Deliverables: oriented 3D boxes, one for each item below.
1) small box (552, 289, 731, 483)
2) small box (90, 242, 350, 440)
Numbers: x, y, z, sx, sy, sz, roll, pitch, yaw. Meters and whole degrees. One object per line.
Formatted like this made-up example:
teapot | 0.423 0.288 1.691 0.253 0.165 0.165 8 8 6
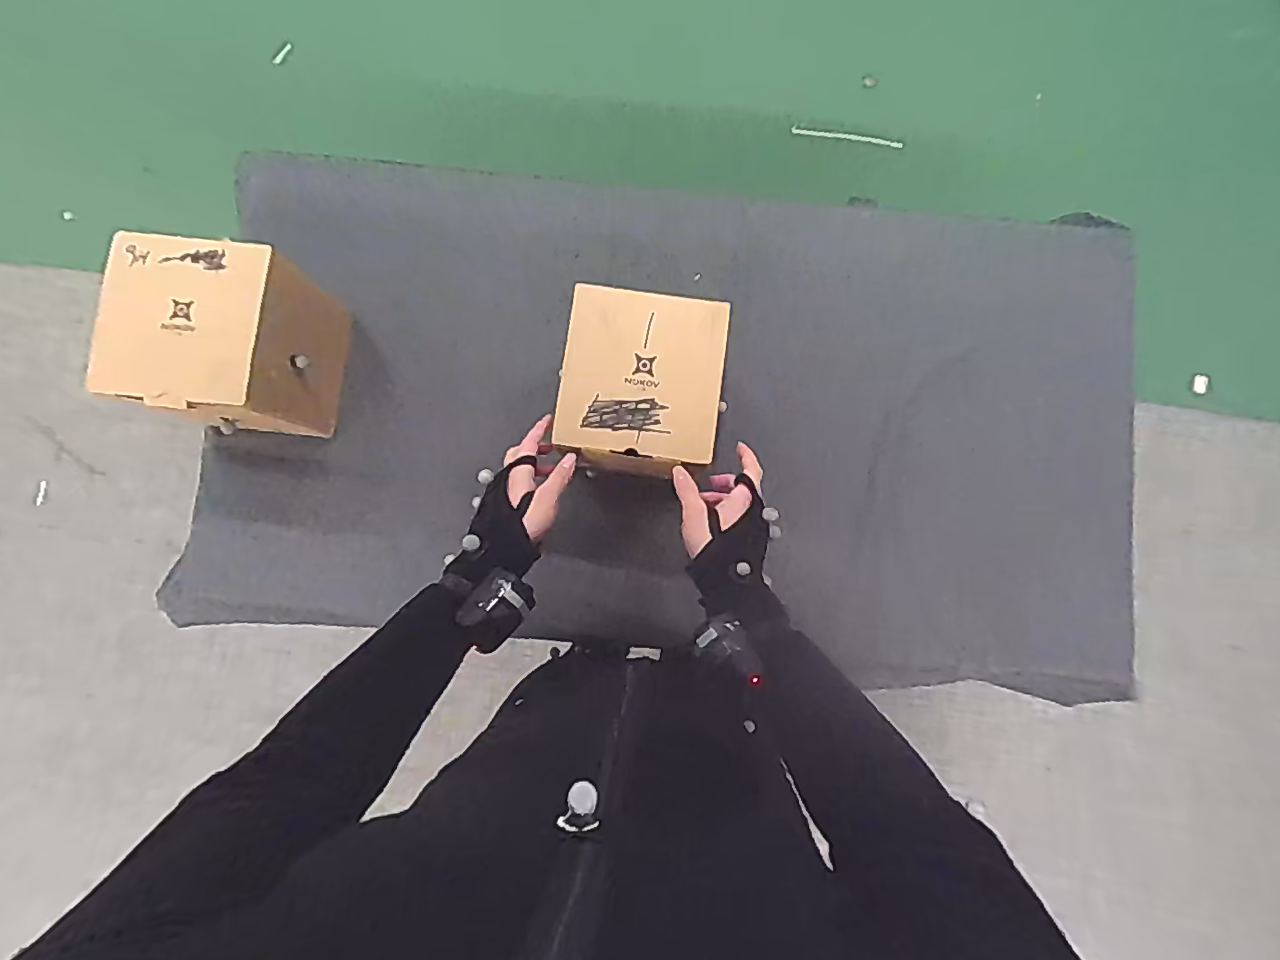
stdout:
small box | 0.003 -0.095 0.629 0.168 0.176 0.179 7 84 1
small box | -0.468 -0.147 0.632 0.168 0.176 0.179 5 85 -1
